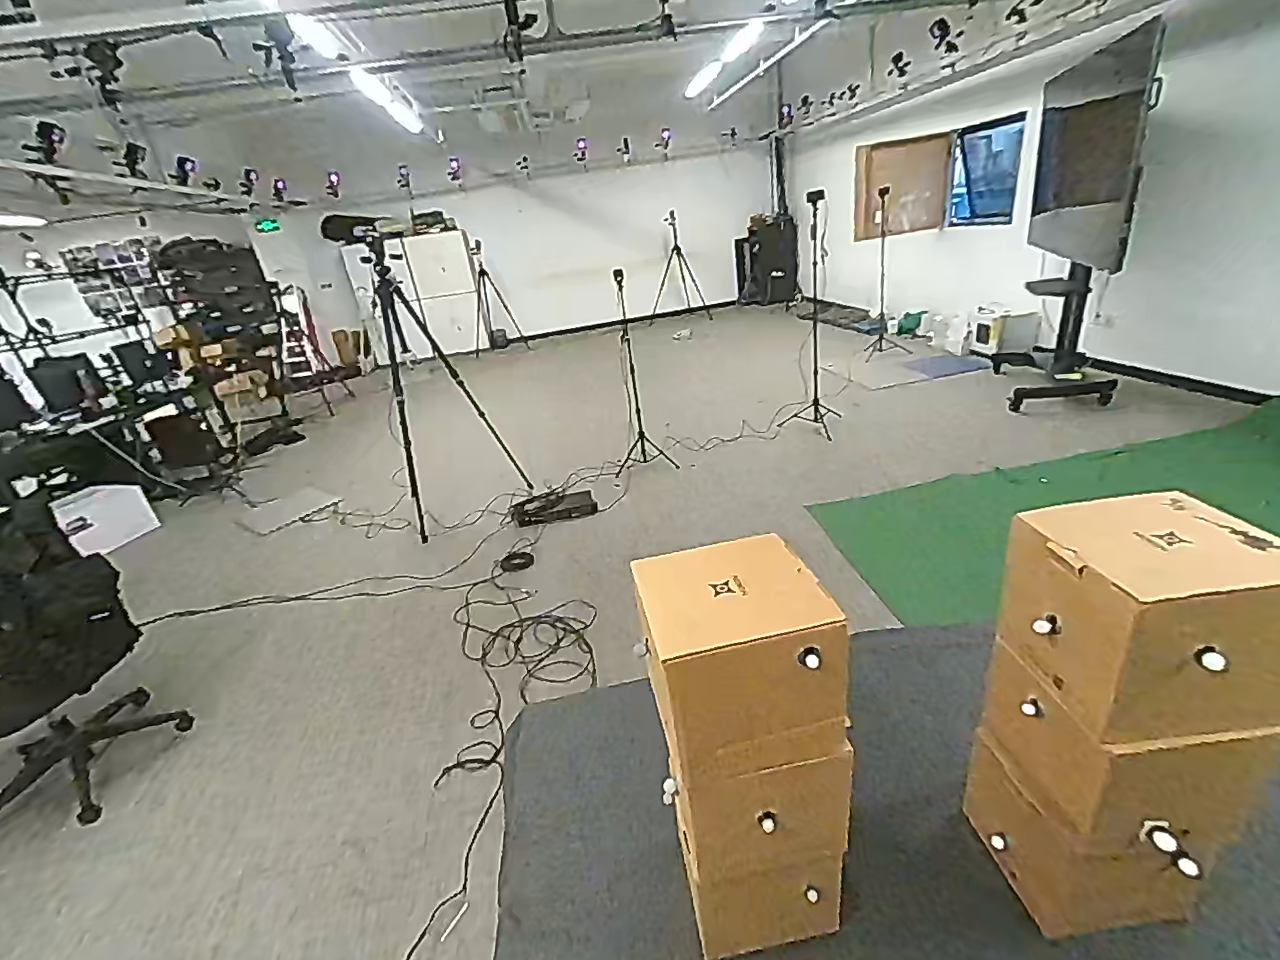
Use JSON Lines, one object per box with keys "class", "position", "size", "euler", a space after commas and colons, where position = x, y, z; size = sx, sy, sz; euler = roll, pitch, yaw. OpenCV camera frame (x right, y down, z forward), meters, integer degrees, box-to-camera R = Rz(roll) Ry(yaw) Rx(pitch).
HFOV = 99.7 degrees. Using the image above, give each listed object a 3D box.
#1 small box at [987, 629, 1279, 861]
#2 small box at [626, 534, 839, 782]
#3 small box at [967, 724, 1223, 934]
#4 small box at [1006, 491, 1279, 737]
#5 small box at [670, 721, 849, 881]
{"class": "small box", "position": [0.523, 0.280, 0.606], "size": [0.168, 0.176, 0.179], "euler": [-10, 25, 2]}
{"class": "small box", "position": [0.093, 0.182, 0.572], "size": [0.179, 0.176, 0.168], "euler": [-11, 24, -6]}
{"class": "small box", "position": [0.547, 0.423, 0.679], "size": [0.179, 0.176, 0.168], "euler": [-9, 24, 0]}
{"class": "small box", "position": [0.500, 0.131, 0.542], "size": [0.179, 0.176, 0.168], "euler": [-9, 24, 4]}
{"class": "small box", "position": [0.125, 0.327, 0.639], "size": [0.179, 0.176, 0.168], "euler": [-11, 25, -4]}
